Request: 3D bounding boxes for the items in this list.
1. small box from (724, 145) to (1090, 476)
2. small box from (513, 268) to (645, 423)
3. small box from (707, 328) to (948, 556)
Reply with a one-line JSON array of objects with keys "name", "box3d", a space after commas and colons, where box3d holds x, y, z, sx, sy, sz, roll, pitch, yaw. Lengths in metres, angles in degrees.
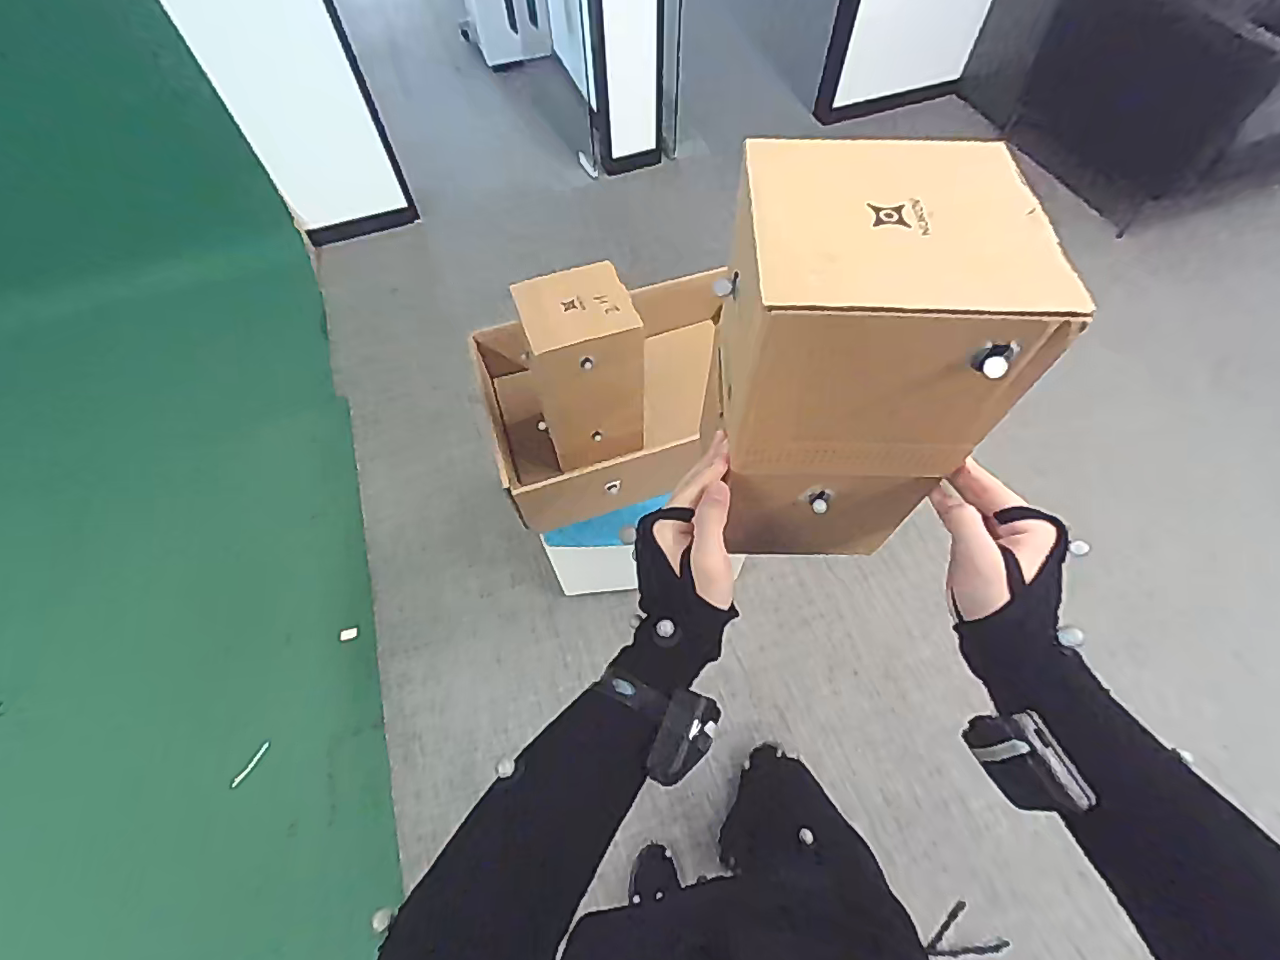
[{"name": "small box", "box3d": [0.156, -0.115, 0.396, 0.179, 0.176, 0.168, 2, 59, 1]}, {"name": "small box", "box3d": [-0.096, -0.220, 0.911, 0.179, 0.176, 0.168, -17, 60, -9]}, {"name": "small box", "box3d": [0.160, -0.032, 0.535, 0.179, 0.176, 0.168, 1, 59, 1]}]
